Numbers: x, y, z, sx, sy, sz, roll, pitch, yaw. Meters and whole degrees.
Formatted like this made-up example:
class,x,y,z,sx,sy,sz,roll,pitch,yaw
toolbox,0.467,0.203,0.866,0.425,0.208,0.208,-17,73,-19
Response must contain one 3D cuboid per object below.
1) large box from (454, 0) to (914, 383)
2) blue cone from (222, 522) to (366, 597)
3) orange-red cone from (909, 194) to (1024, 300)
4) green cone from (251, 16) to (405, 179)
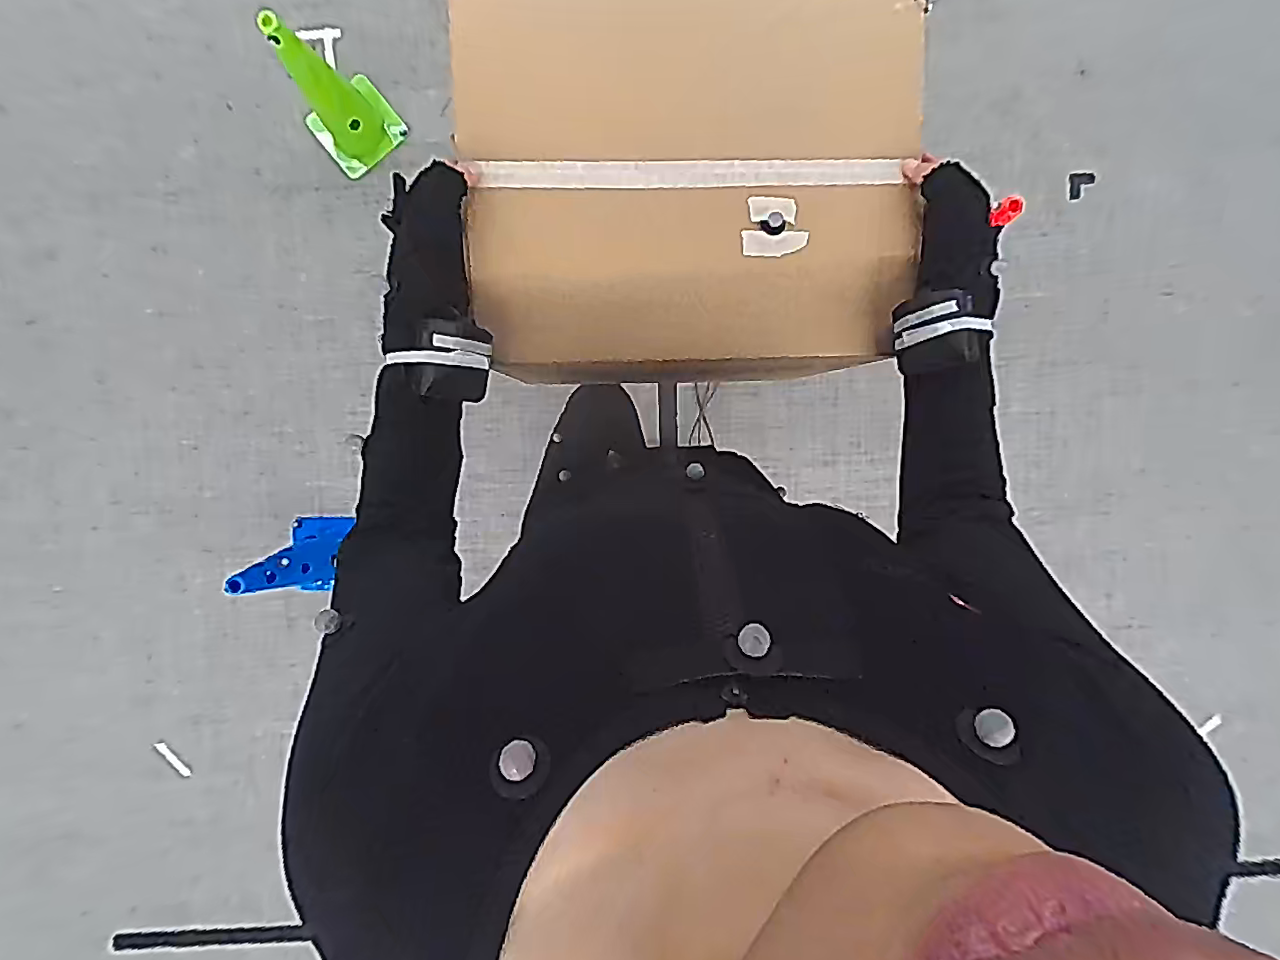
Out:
class,x,y,z,sx,sy,sz,roll,pitch,yaw
large box,0.036,-0.287,0.624,0.408,0.320,0.320,-2,96,-4
blue cone,-0.844,0.217,1.311,0.192,0.380,0.193,1,93,0
orange-red cone,0.760,-0.574,1.277,0.198,0.360,0.199,-5,92,-1
green cone,-0.740,-0.907,1.235,0.202,0.368,0.200,-40,92,3
